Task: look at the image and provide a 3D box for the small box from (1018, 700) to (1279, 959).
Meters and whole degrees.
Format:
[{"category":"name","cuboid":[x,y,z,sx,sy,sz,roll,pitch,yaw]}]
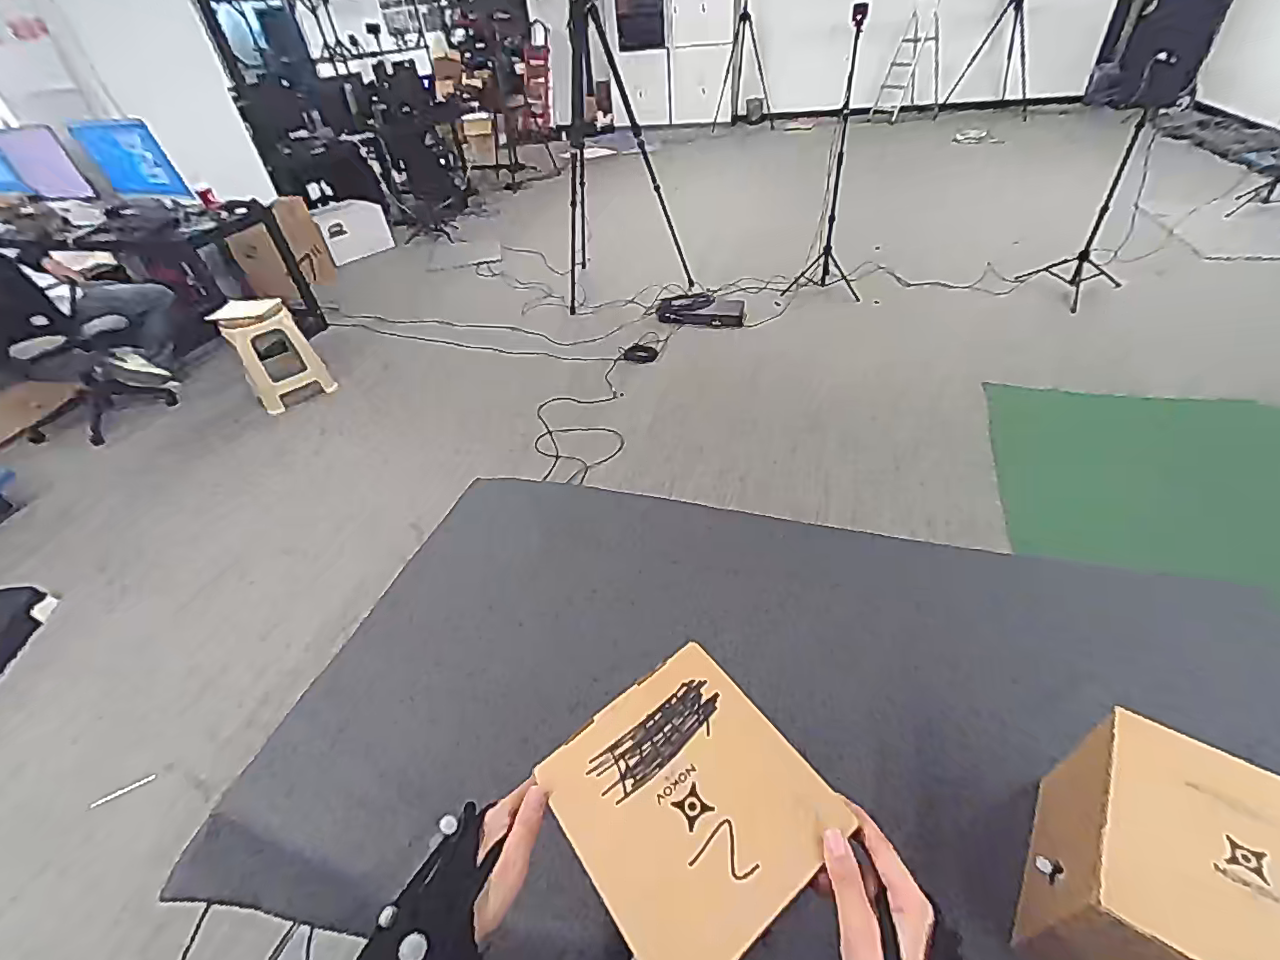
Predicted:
[{"category":"small box","cuboid":[0.435,0.327,0.434,0.168,0.176,0.179,23,47,29]}]
